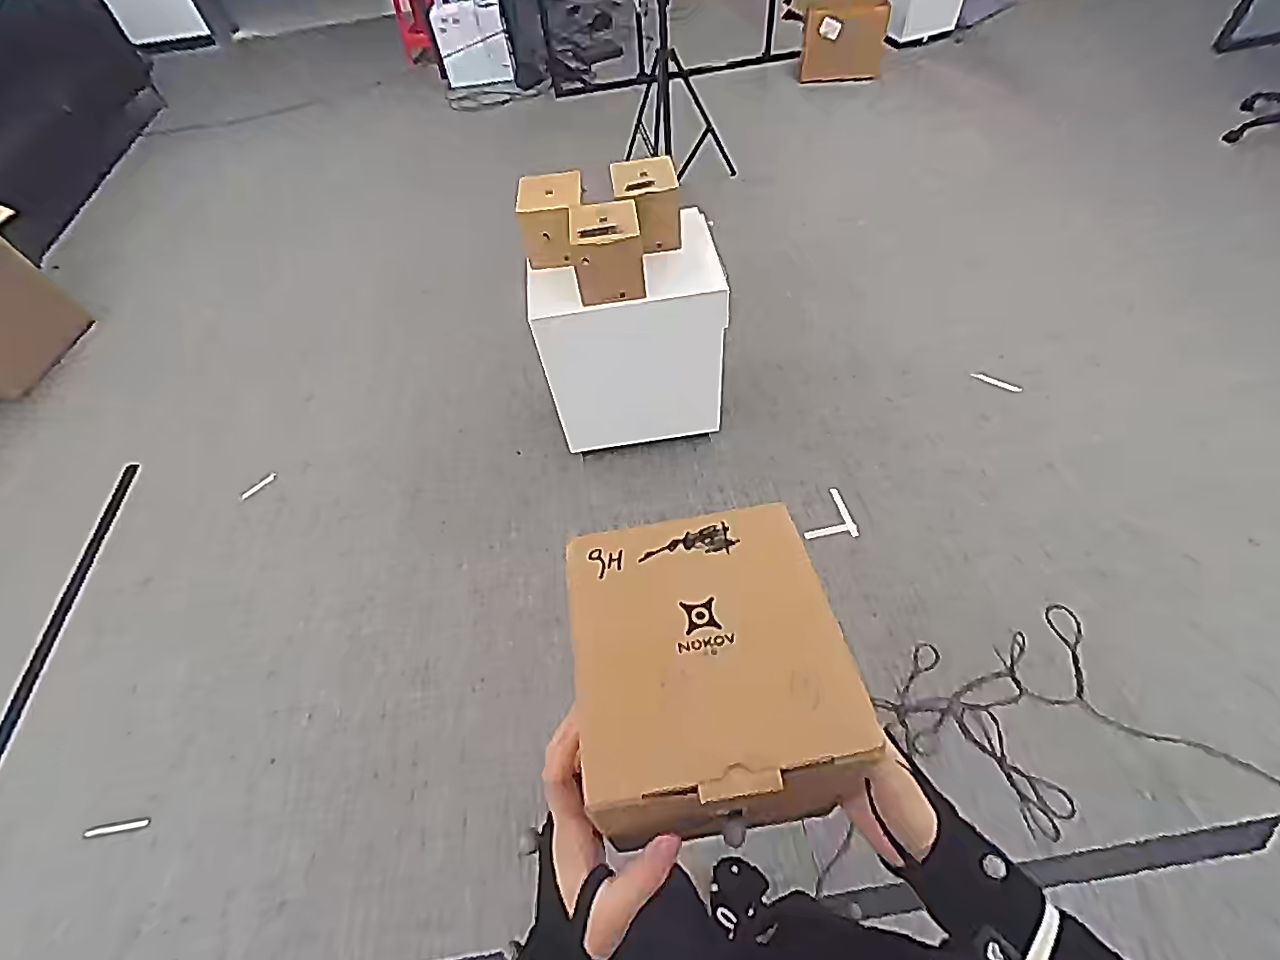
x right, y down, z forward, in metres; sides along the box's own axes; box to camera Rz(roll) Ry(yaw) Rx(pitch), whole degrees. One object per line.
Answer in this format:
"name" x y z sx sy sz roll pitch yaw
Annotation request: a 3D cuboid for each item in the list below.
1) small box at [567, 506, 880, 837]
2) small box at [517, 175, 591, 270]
"small box" 0.045 0.147 0.400 0.168 0.176 0.179 -9 50 -2
"small box" -0.226 -0.687 1.458 0.168 0.176 0.179 -6 55 2
